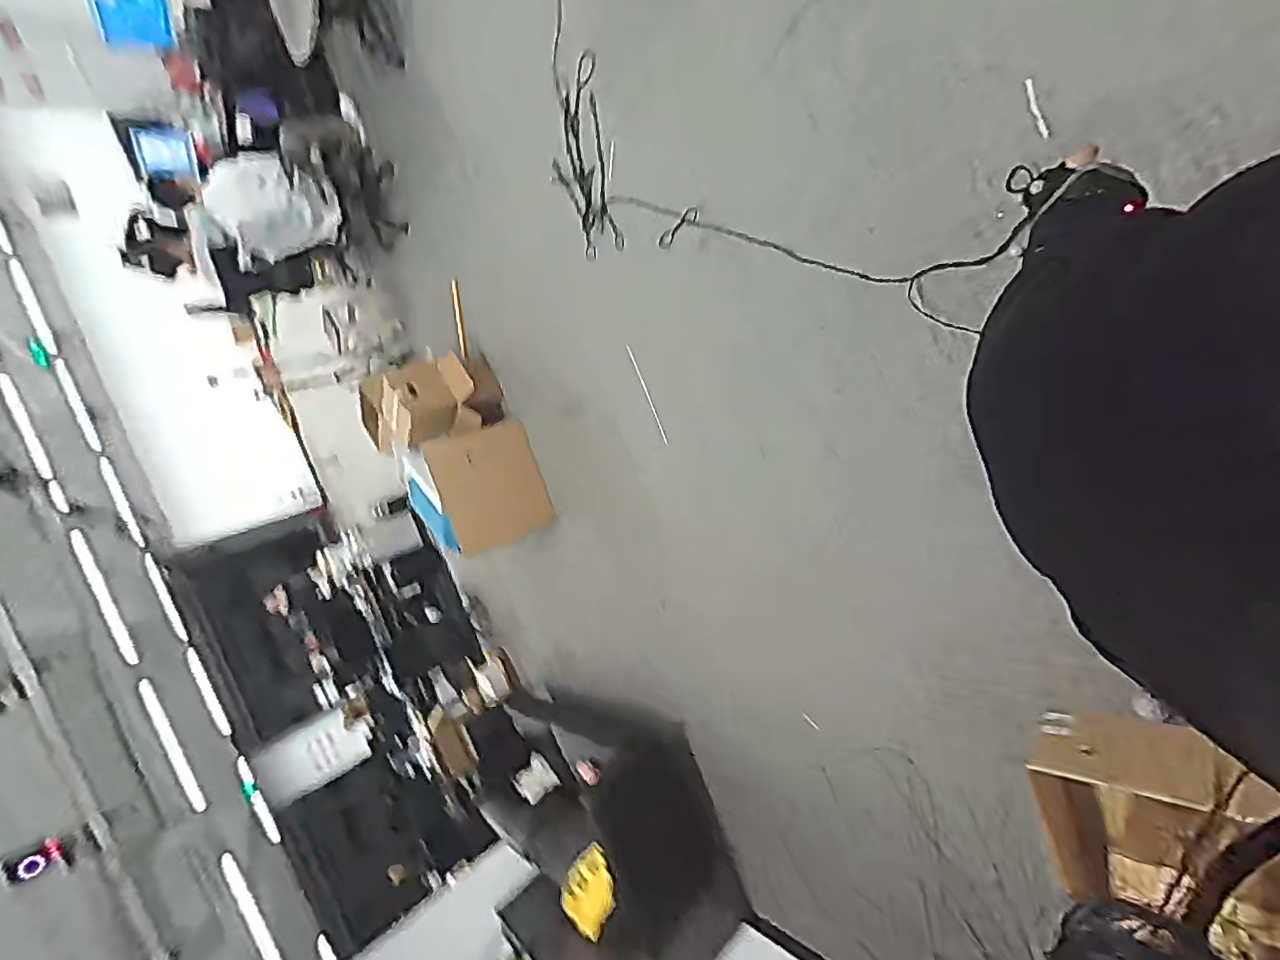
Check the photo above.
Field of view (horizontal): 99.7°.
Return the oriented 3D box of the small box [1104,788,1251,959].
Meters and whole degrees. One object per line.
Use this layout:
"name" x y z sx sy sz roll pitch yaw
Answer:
"small box" 0.932 0.687 0.941 0.168 0.176 0.179 3 110 51
